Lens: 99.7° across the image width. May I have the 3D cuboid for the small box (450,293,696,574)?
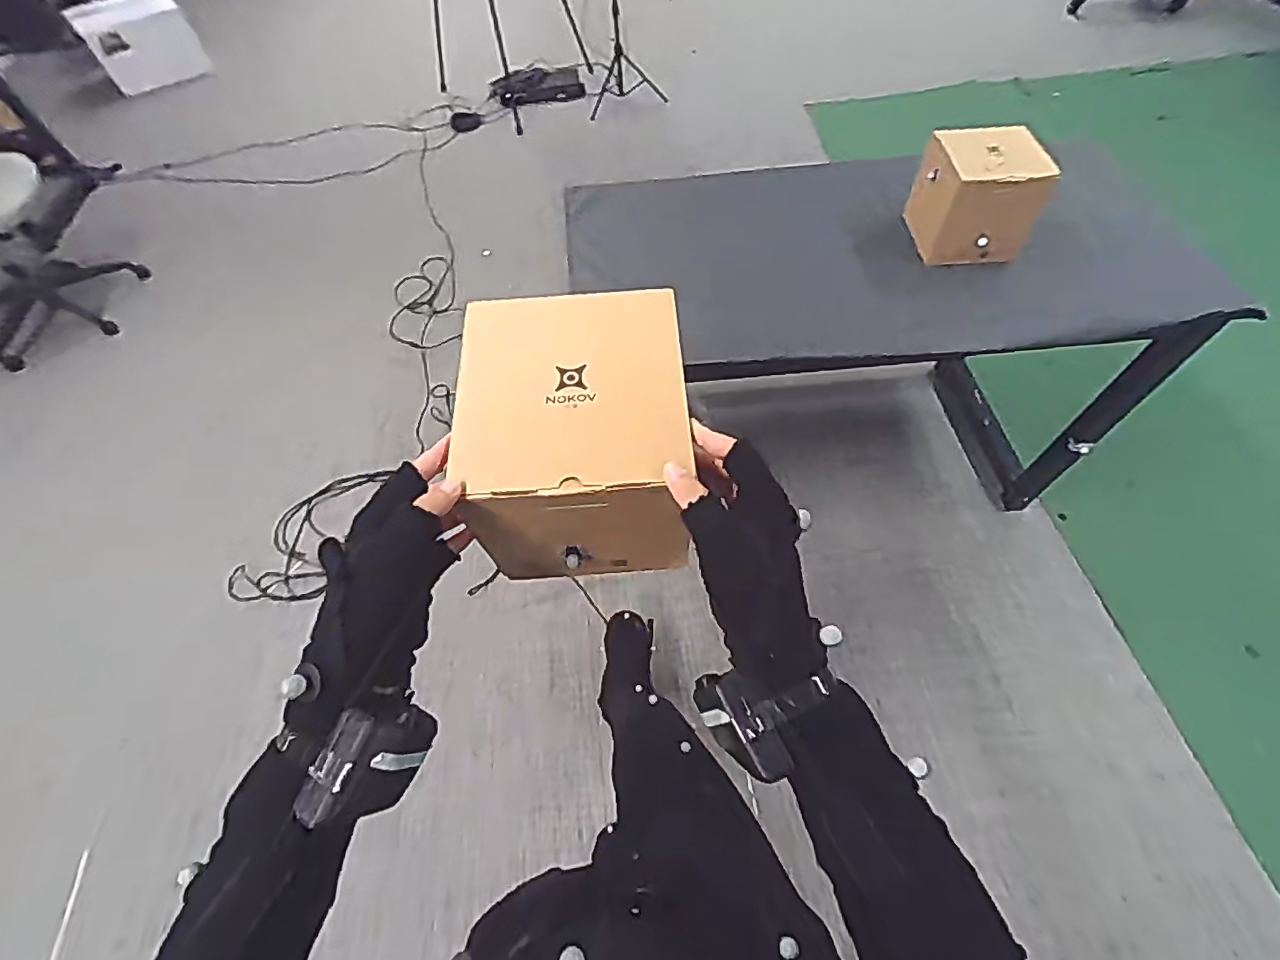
[{"bbox_3d":[-0.047,-0.032,0.465,0.168,0.176,0.179,-4,62,0],"label":"small box"}]

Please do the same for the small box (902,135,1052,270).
[{"bbox_3d":[0.626,-0.527,1.035,0.168,0.176,0.179,-2,57,3],"label":"small box"}]
